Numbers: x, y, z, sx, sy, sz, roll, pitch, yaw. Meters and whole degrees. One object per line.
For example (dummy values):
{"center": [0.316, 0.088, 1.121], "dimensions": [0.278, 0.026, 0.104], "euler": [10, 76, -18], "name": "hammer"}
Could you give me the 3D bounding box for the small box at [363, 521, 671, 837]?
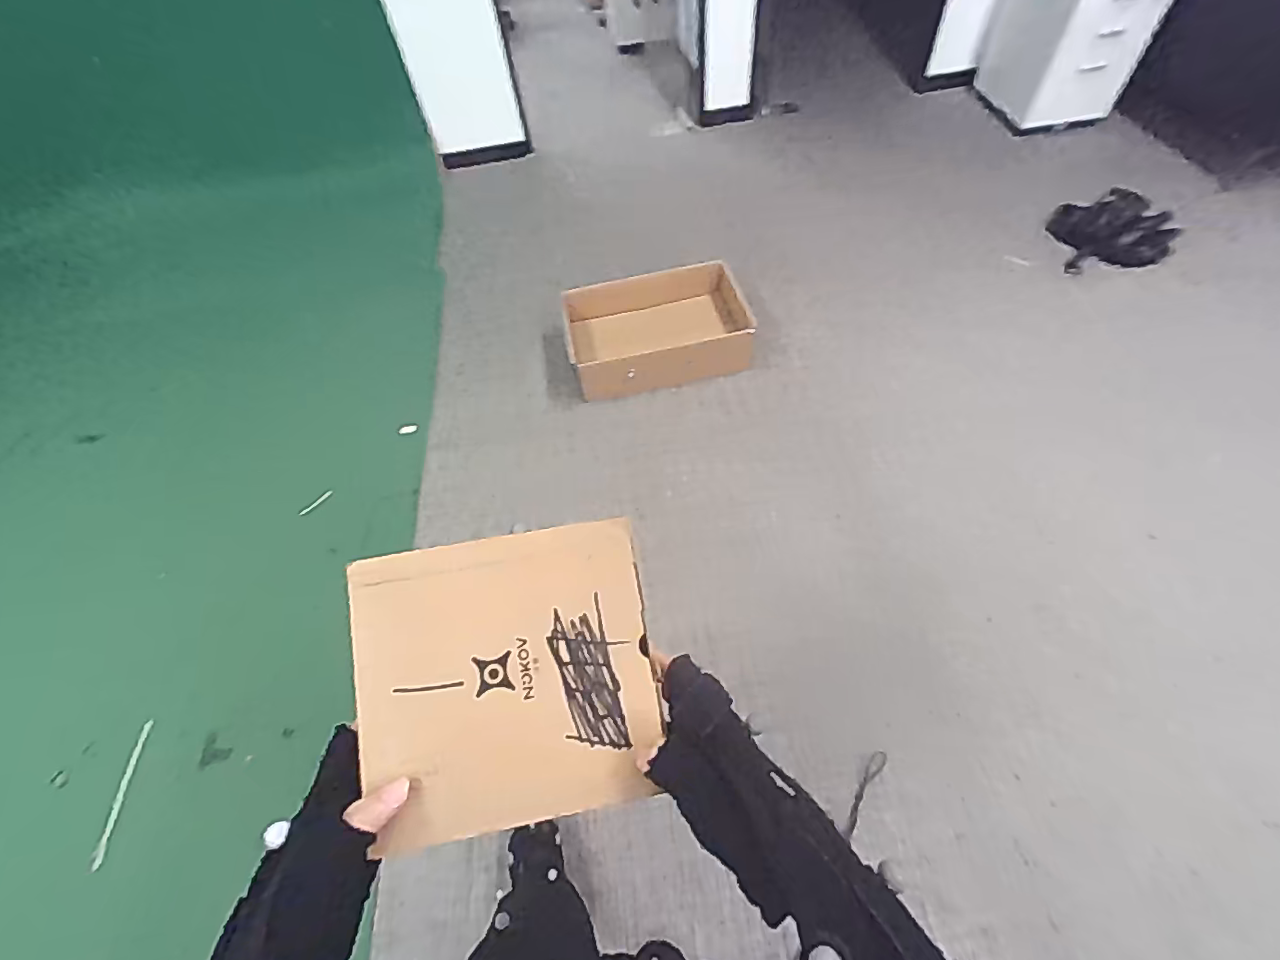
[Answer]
{"center": [-0.084, 0.133, 0.414], "dimensions": [0.179, 0.176, 0.168], "euler": [-9, 77, -5], "name": "small box"}
